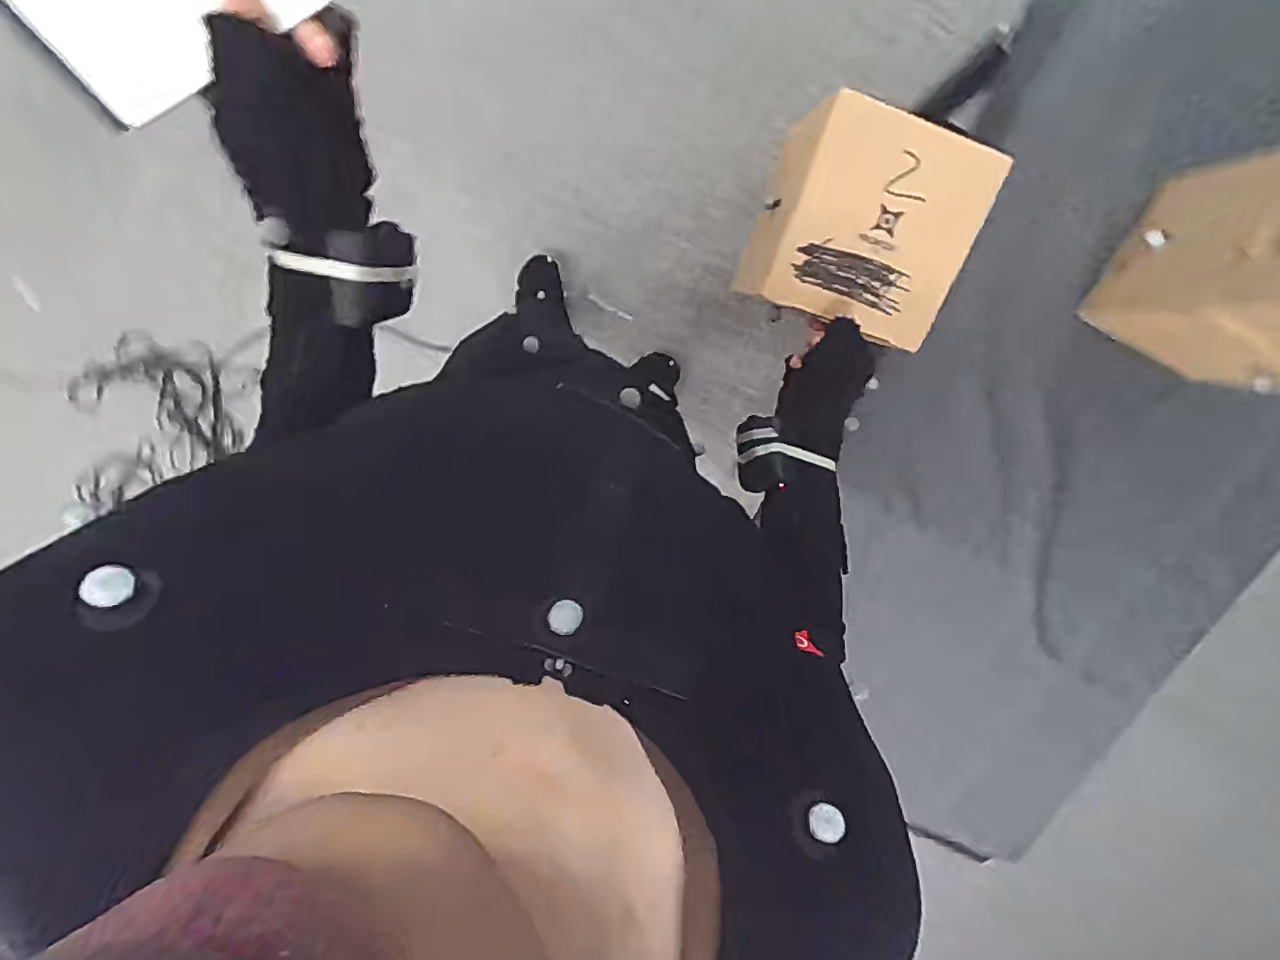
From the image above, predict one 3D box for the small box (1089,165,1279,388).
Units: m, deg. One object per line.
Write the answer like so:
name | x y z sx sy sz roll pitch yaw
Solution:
small box | 0.643 -0.208 0.561 0.179 0.176 0.168 26 105 -5
